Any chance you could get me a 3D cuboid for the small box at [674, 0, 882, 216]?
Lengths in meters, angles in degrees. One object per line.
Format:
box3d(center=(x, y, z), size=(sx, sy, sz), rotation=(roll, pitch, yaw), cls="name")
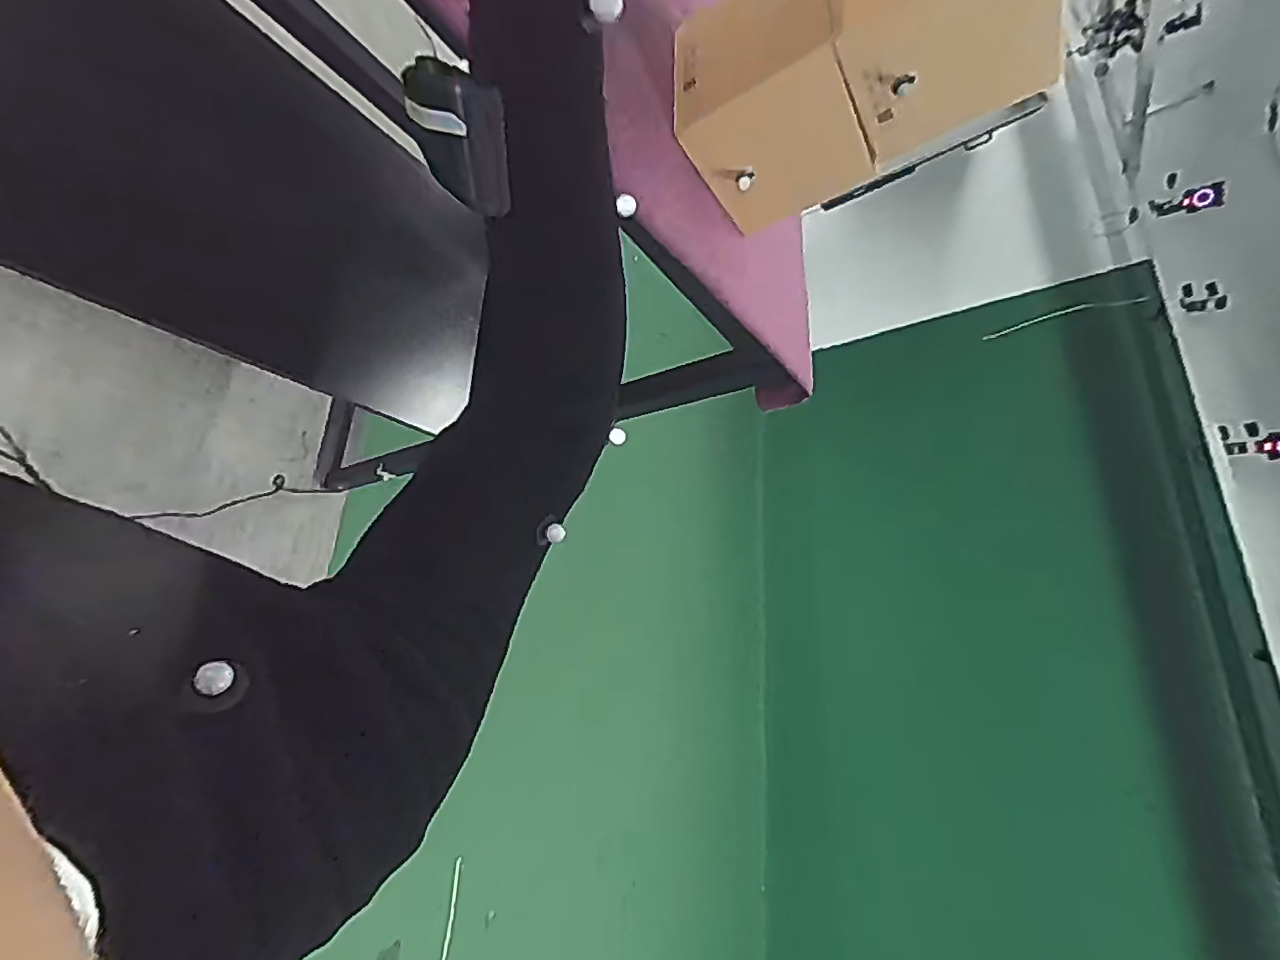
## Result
box3d(center=(0.154, -0.428, 0.600), size=(0.179, 0.176, 0.168), rotation=(25, 61, -50), cls="small box")
